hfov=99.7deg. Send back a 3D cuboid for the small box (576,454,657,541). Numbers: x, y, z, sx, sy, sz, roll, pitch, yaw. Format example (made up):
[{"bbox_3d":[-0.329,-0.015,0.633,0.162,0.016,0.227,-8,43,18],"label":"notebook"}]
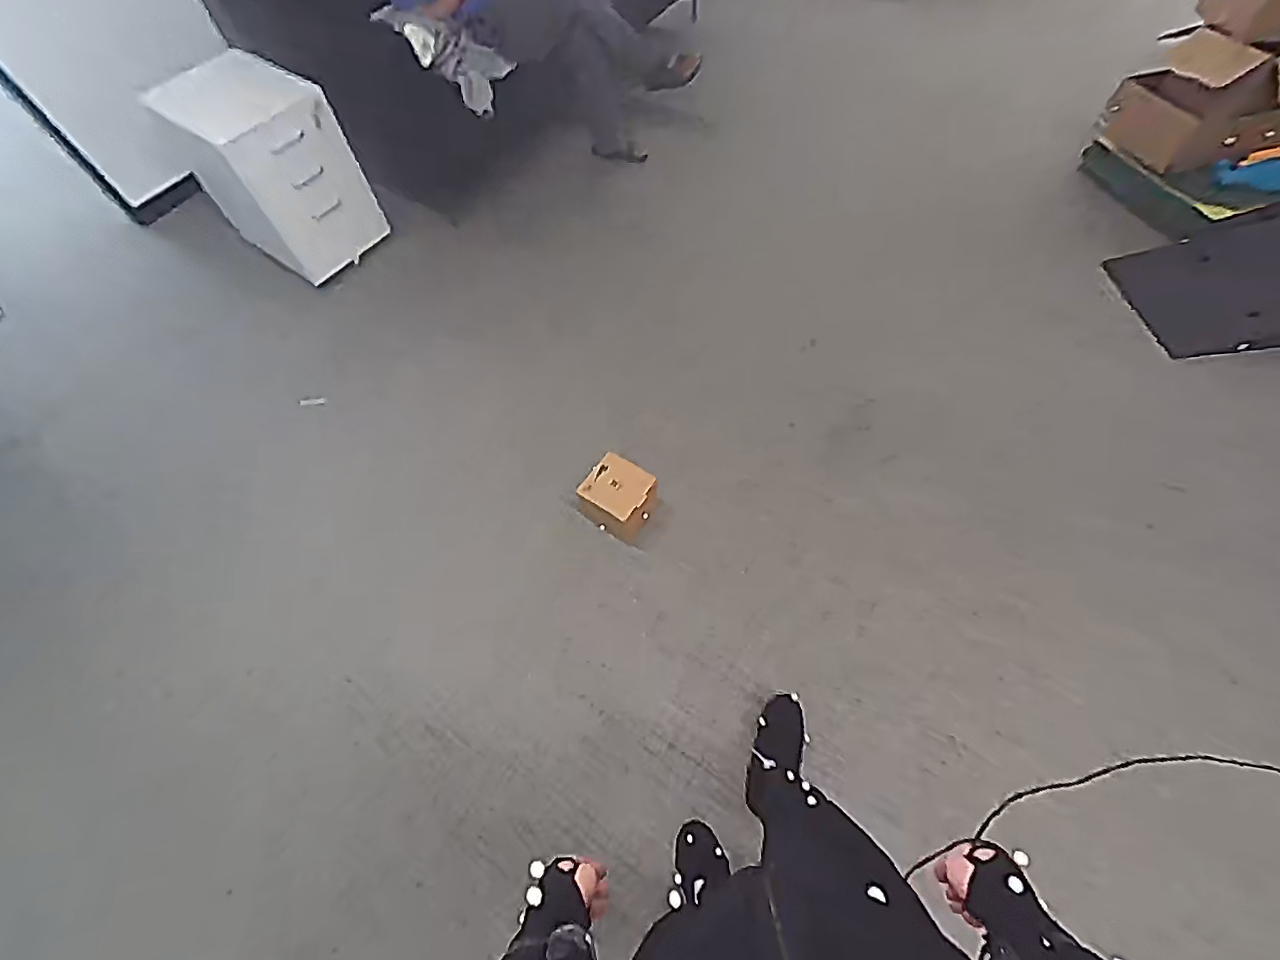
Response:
[{"bbox_3d":[-0.063,0.059,1.611,0.179,0.176,0.168,31,66,18],"label":"small box"}]
